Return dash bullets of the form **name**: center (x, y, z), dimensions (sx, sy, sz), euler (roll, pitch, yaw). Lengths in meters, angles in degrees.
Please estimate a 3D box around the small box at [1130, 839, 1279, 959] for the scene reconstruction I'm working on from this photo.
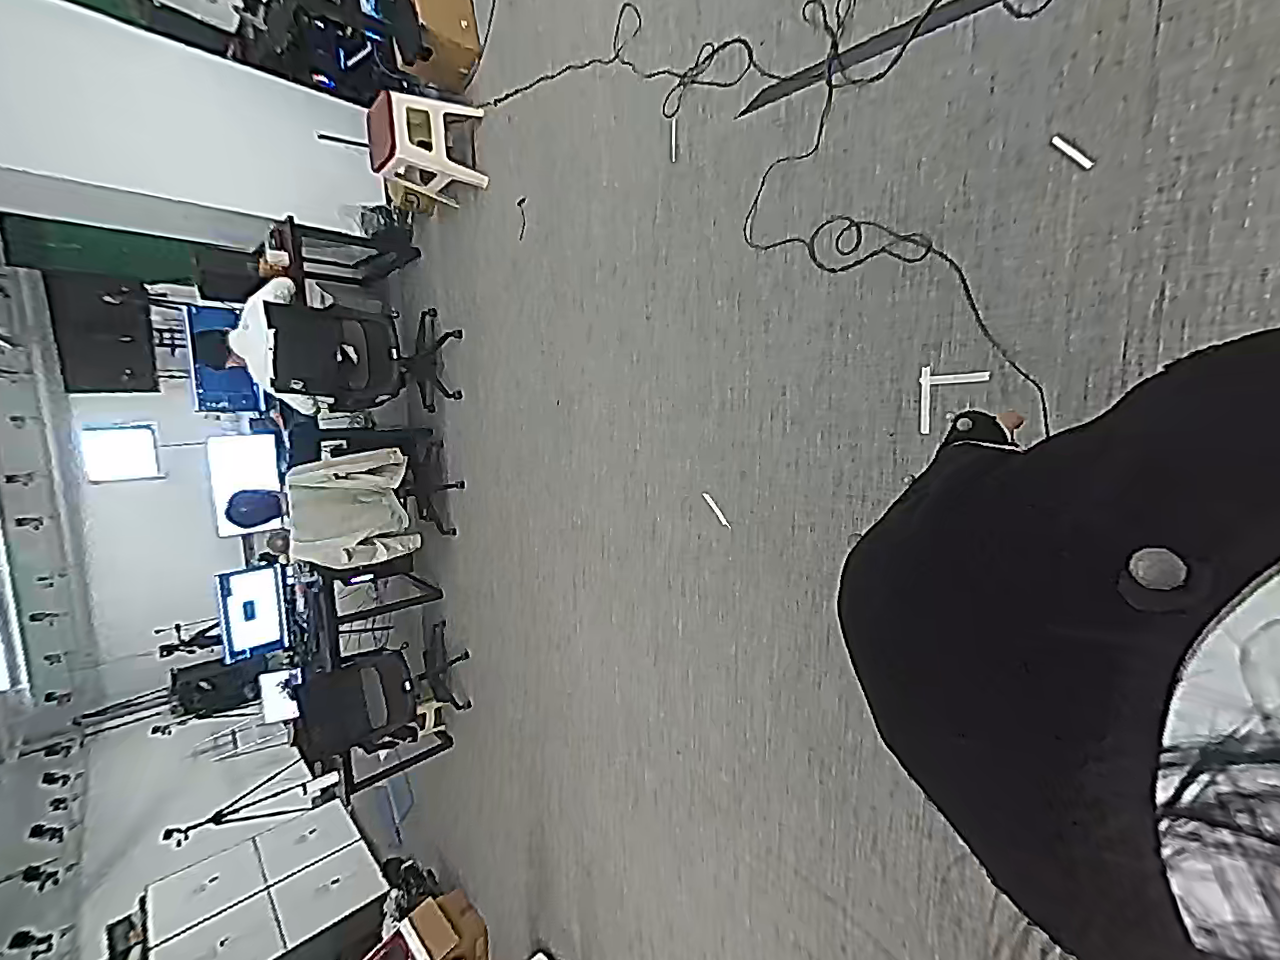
- **small box**: center (0.758, 0.629, 0.706), dimensions (0.168, 0.176, 0.179), euler (8, 100, 44)
